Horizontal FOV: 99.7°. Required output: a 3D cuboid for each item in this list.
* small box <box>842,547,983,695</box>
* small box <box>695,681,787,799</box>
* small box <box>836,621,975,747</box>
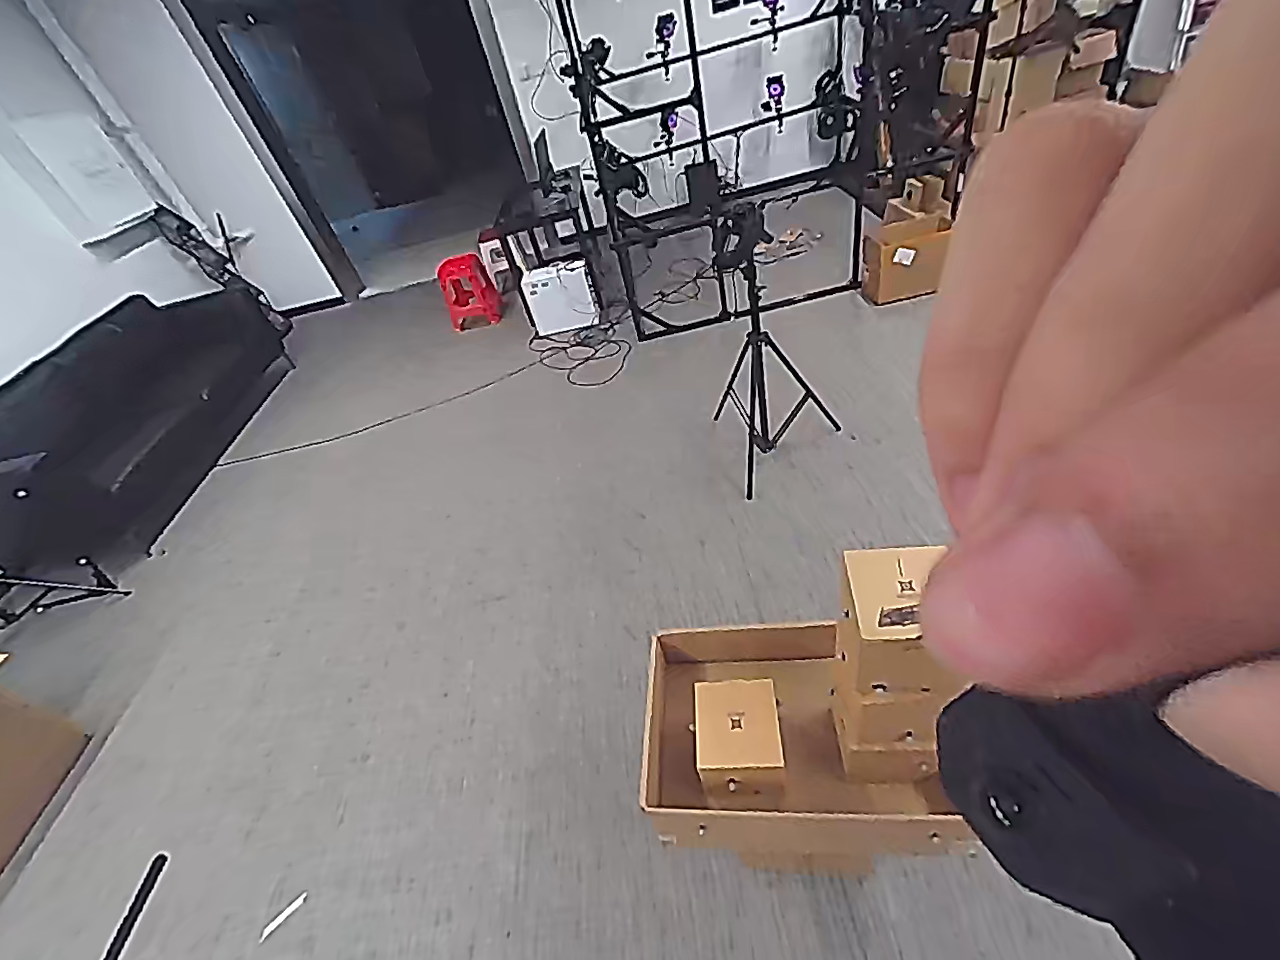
[{"bbox_3d":[0.428,0.233,0.880,0.168,0.176,0.179,-5,41,13],"label":"small box"},{"bbox_3d":[0.207,0.540,1.117,0.168,0.176,0.179,-7,40,10],"label":"small box"},{"bbox_3d":[0.462,0.365,0.975,0.179,0.176,0.168,-7,41,9],"label":"small box"}]
